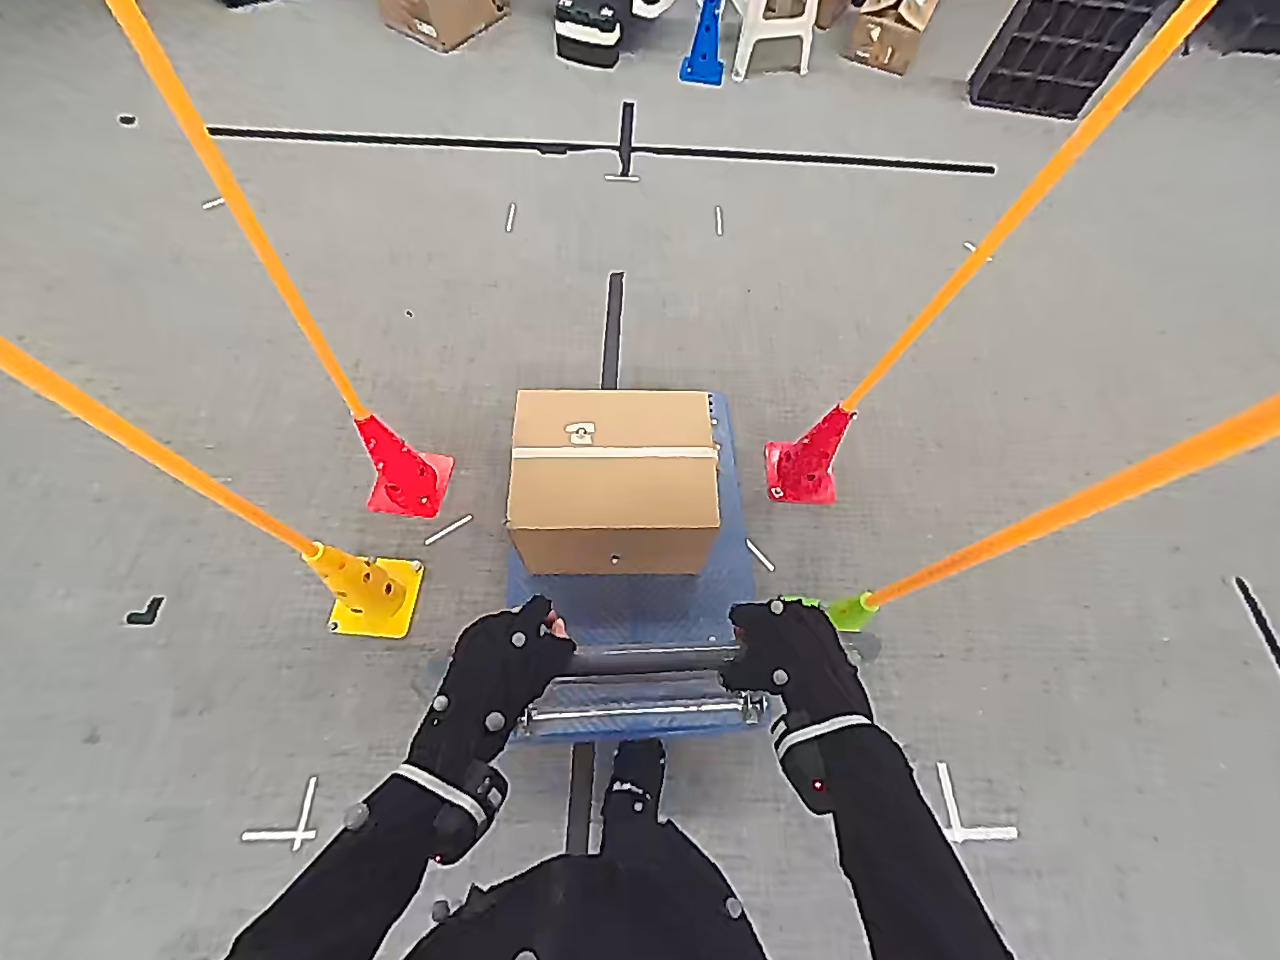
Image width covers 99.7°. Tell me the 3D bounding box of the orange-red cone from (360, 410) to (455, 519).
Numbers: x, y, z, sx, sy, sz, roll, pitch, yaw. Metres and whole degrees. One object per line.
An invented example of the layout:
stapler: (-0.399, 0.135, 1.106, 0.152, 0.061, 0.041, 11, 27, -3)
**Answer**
orange-red cone: (-0.639, -0.068, 1.402, 0.198, 0.360, 0.199, 10, 62, 1)

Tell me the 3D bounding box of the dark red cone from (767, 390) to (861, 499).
dark red cone: (0.493, -0.108, 1.456, 0.201, 0.394, 0.202, 3, 64, -3)

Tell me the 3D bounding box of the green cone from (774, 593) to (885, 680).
green cone: (0.460, 0.331, 1.253, 0.202, 0.368, 0.200, 6, 63, -1)

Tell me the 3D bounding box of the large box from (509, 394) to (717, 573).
large box: (-0.057, 0.021, 1.224, 0.408, 0.320, 0.320, 0, 64, -2)
